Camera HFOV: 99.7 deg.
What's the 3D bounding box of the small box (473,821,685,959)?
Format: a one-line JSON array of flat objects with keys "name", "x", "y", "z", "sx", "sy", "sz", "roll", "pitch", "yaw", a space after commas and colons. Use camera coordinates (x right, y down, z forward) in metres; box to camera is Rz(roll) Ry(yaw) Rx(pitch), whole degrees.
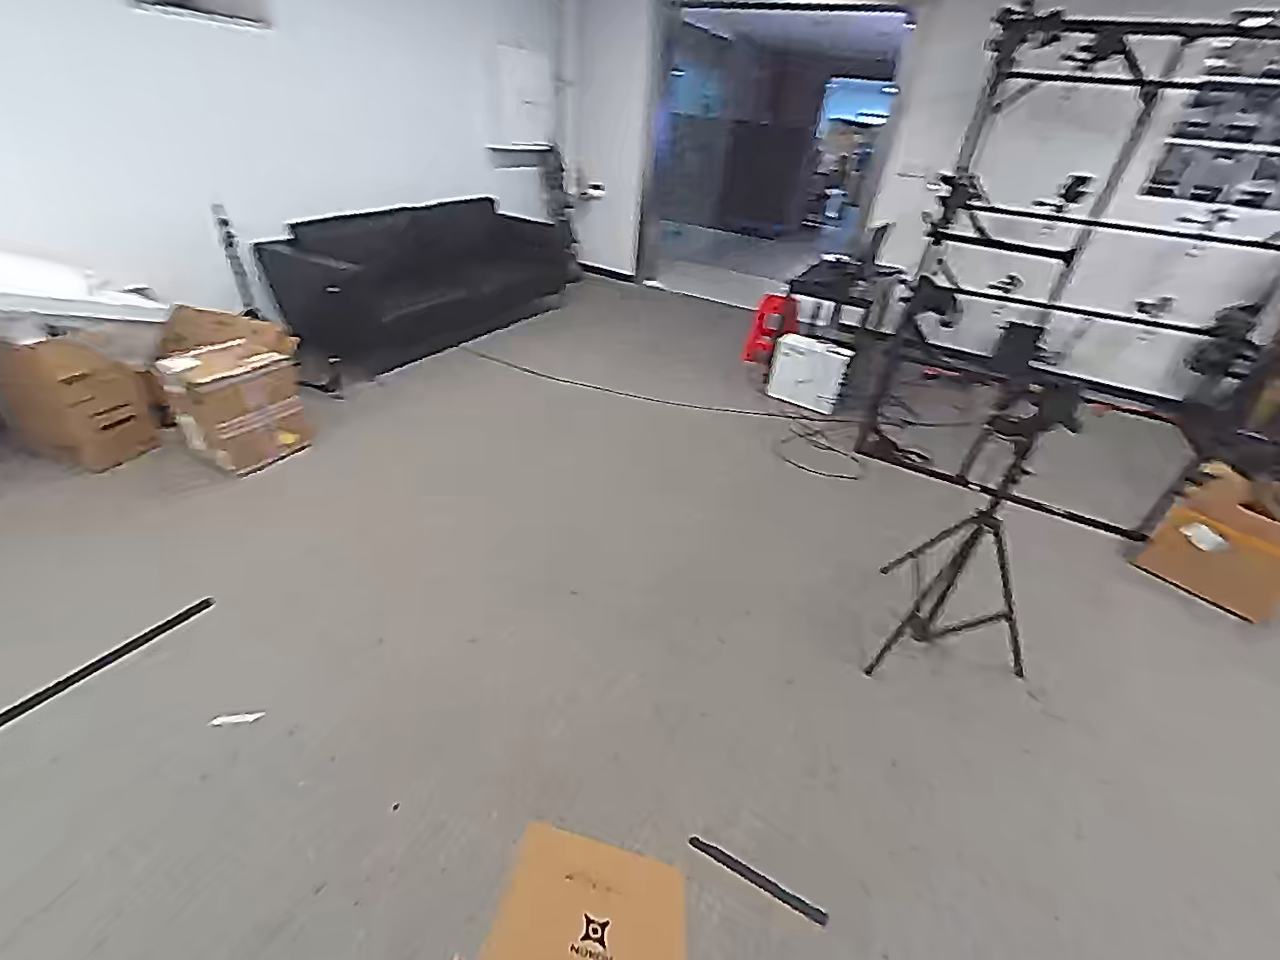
[{"name": "small box", "x": -0.067, "y": 0.449, "z": 0.458, "sx": 0.168, "sy": 0.176, "sz": 0.179, "roll": 21, "pitch": 11, "yaw": -2}]
